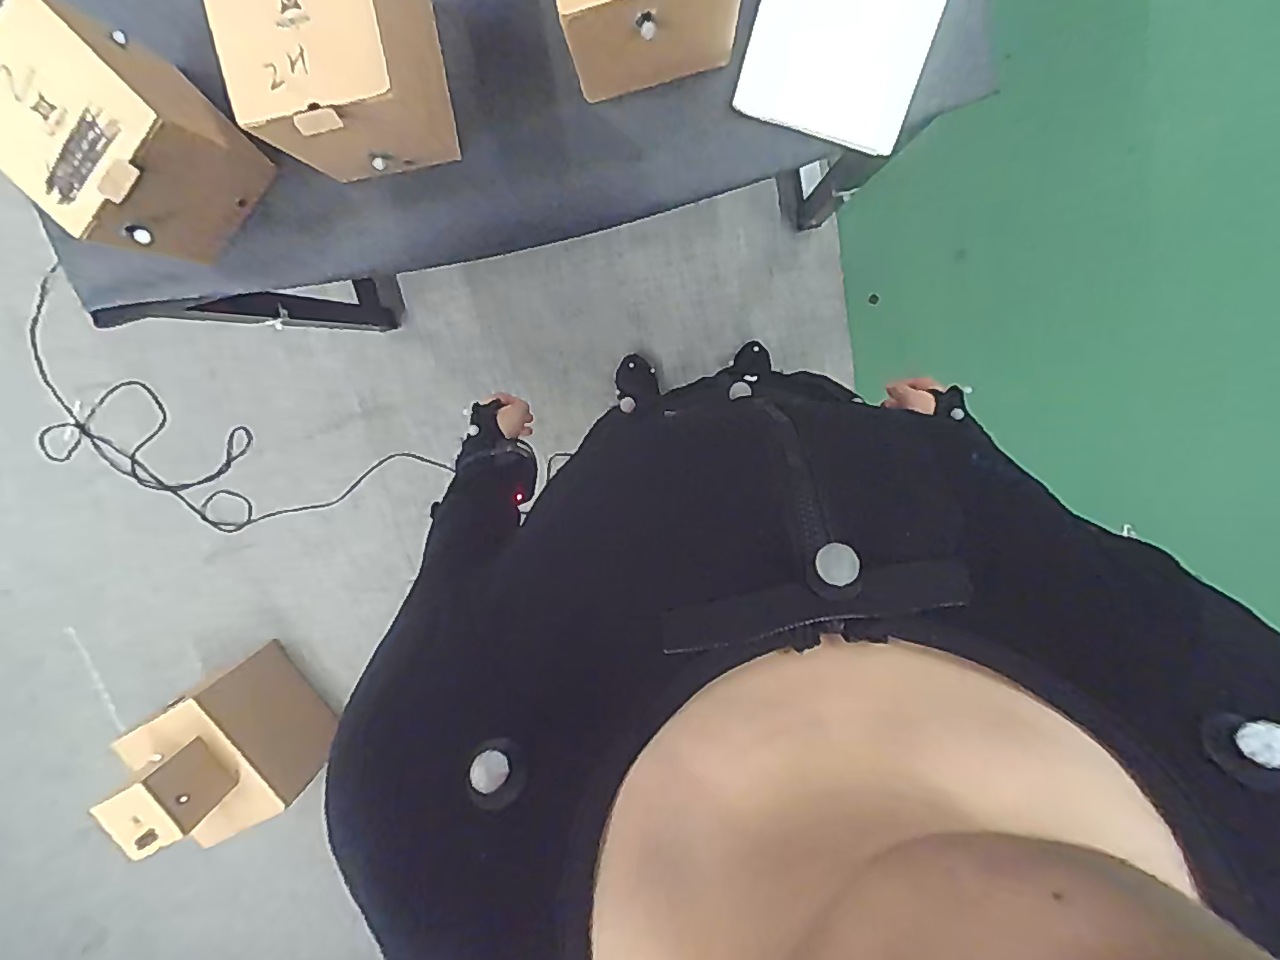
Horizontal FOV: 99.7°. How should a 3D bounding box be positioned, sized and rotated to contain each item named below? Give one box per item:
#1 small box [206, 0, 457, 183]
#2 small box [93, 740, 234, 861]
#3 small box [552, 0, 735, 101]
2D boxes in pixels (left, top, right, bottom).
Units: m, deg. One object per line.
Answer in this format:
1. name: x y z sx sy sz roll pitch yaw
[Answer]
1. small box: -0.323 -0.457 0.591 0.168 0.176 0.179 -7 101 7
2. small box: -1.202 0.809 1.380 0.168 0.176 0.179 -29 99 8
3. small box: -0.002 -0.530 0.550 0.179 0.176 0.168 -11 101 8
